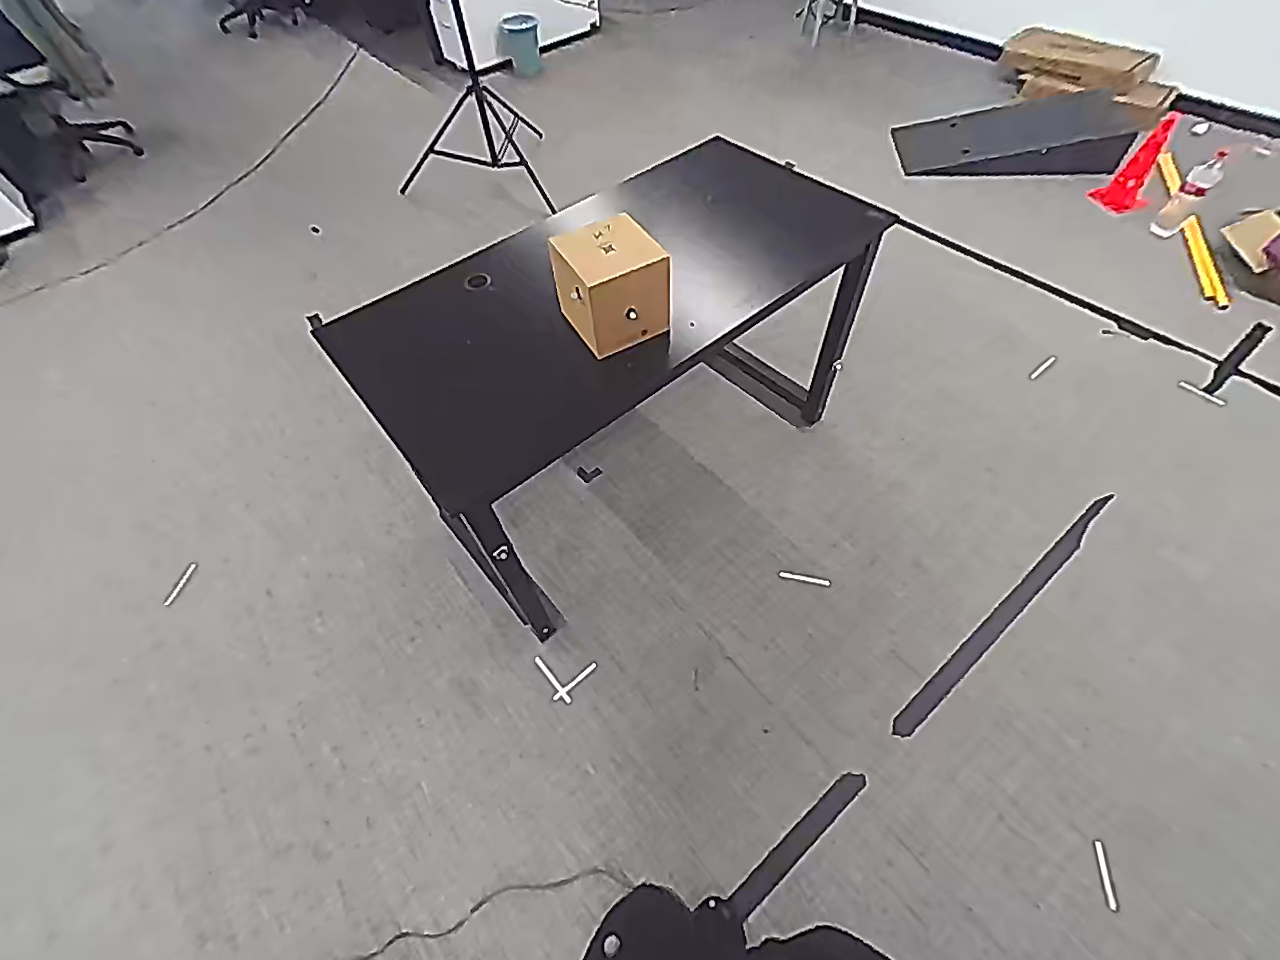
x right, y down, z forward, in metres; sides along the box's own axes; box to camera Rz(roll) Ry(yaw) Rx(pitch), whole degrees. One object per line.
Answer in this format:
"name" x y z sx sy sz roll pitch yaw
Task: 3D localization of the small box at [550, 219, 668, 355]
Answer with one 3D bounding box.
"small box" -0.055 -0.367 1.054 0.168 0.176 0.179 -26 57 -14
